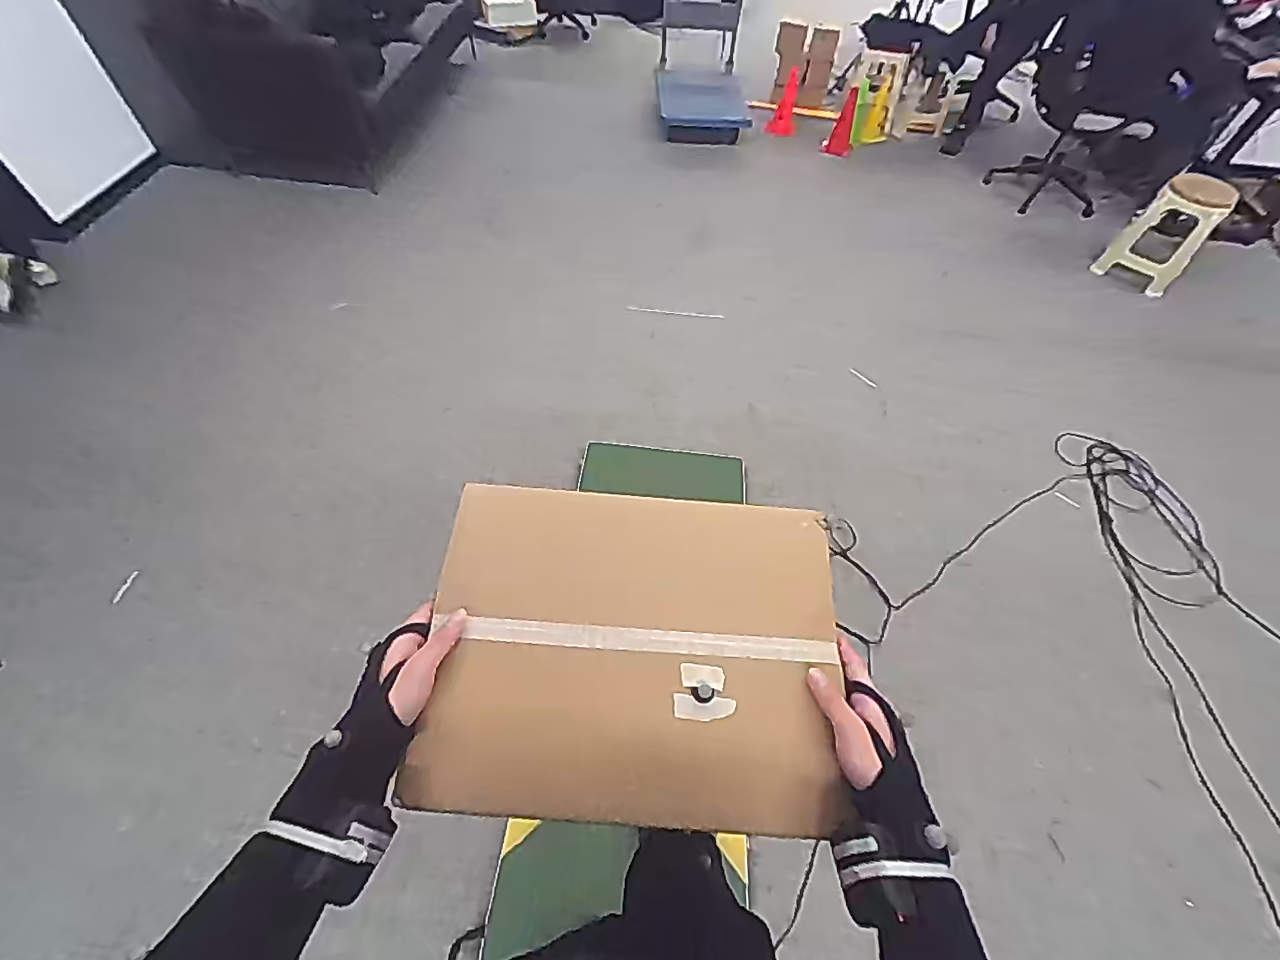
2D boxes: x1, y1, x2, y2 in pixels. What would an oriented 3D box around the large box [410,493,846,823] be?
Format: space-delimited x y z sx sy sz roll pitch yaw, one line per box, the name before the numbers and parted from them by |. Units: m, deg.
large box | -0.013 0.232 0.684 0.408 0.320 0.320 5 63 -2
